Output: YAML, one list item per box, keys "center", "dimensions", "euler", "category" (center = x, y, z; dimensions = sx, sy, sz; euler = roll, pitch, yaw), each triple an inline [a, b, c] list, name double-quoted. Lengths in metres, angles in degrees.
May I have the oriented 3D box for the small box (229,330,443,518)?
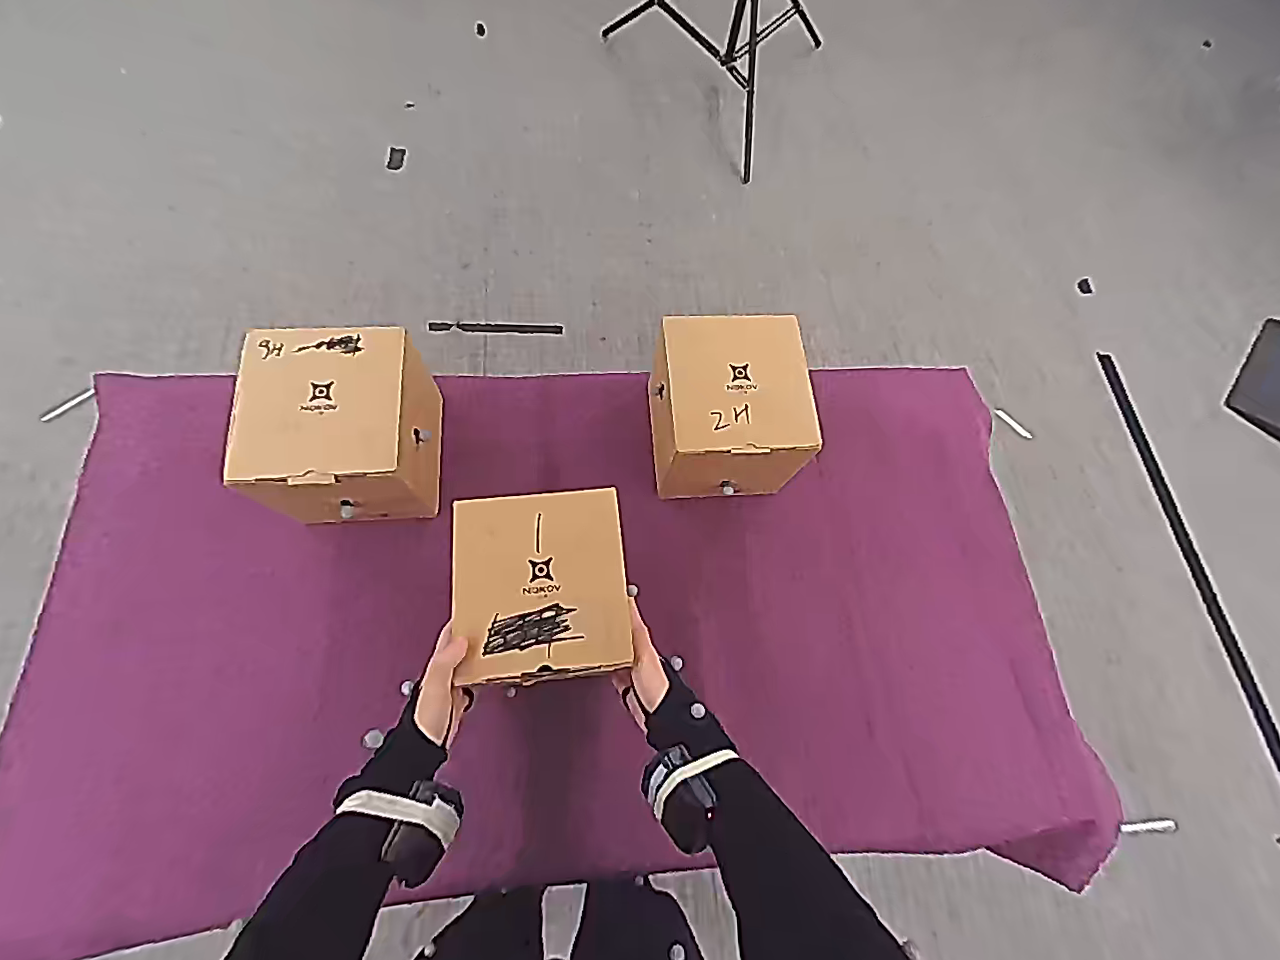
- center: [-0.338, -0.056, 0.639]
  dimensions: [0.168, 0.176, 0.179]
  euler: [-3, 72, -7]
  category: "small box"

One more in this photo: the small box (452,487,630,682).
- center: [-0.100, 0.122, 0.594]
  dimensions: [0.168, 0.176, 0.179]
  euler: [-5, 69, -6]
  category: "small box"

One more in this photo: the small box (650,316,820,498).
- center: [0.106, -0.087, 0.692]
  dimensions: [0.168, 0.176, 0.179]
  euler: [-3, 71, -5]
  category: "small box"
